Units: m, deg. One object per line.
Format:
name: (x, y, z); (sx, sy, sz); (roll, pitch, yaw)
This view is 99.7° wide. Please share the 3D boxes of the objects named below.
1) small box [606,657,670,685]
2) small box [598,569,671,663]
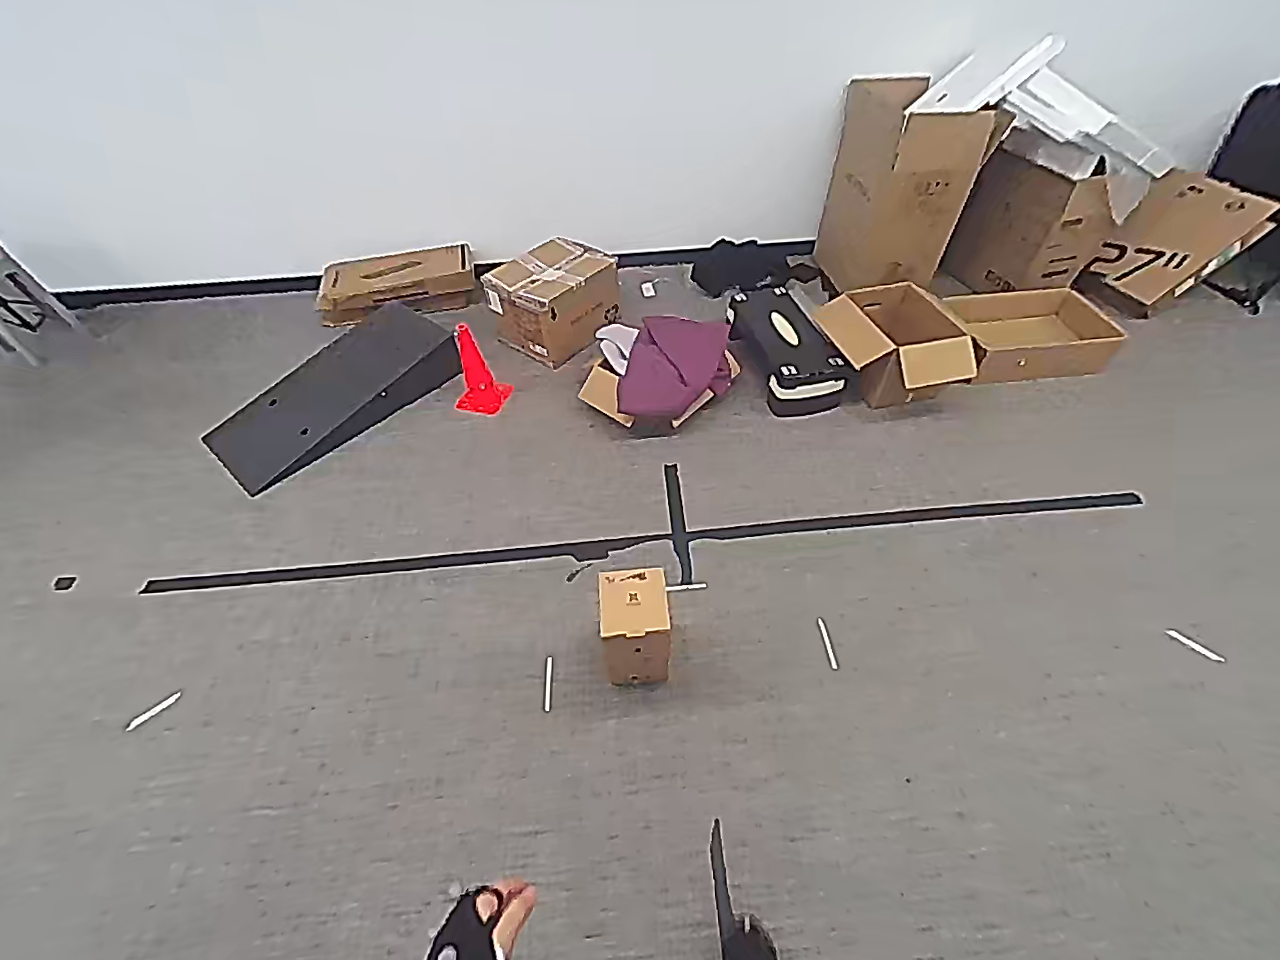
small box: (-0.010, 0.443, 1.490); (0.168, 0.176, 0.179); (-6, 49, -1)
small box: (-0.012, 0.346, 1.356); (0.168, 0.176, 0.179); (-5, 49, 0)
